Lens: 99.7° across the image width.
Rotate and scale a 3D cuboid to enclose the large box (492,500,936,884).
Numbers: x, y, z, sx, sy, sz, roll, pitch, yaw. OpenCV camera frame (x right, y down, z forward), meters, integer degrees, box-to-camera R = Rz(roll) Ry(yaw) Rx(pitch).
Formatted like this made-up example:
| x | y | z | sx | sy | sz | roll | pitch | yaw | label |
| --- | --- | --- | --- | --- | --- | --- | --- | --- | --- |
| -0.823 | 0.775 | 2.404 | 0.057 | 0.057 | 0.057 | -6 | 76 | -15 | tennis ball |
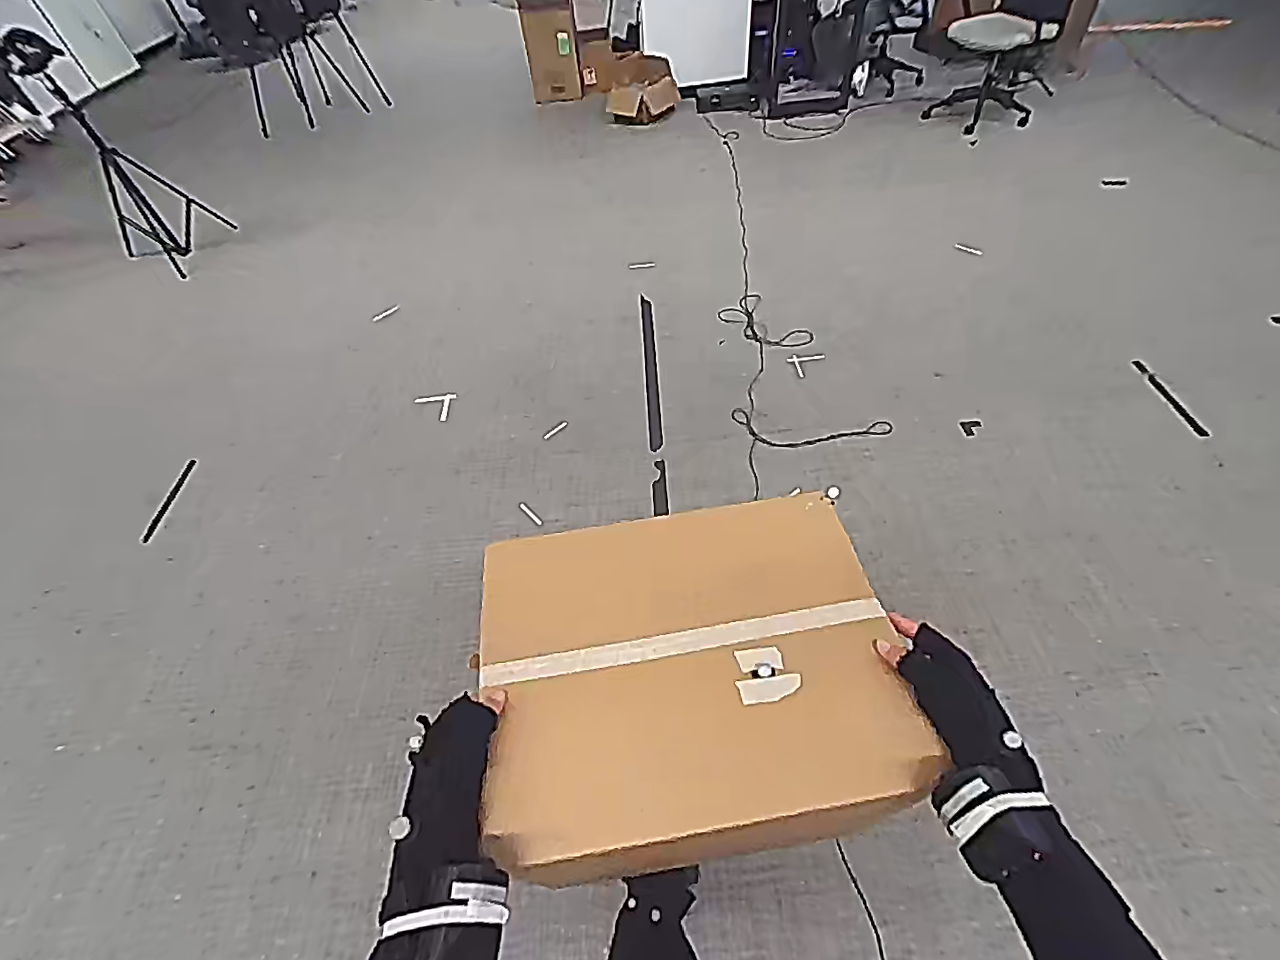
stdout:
| x | y | z | sx | sy | sz | roll | pitch | yaw | label |
| --- | --- | --- | --- | --- | --- | --- | --- | --- | --- |
| 0.053 | 0.266 | 0.673 | 0.408 | 0.320 | 0.320 | -9 | 51 | -3 | large box |
